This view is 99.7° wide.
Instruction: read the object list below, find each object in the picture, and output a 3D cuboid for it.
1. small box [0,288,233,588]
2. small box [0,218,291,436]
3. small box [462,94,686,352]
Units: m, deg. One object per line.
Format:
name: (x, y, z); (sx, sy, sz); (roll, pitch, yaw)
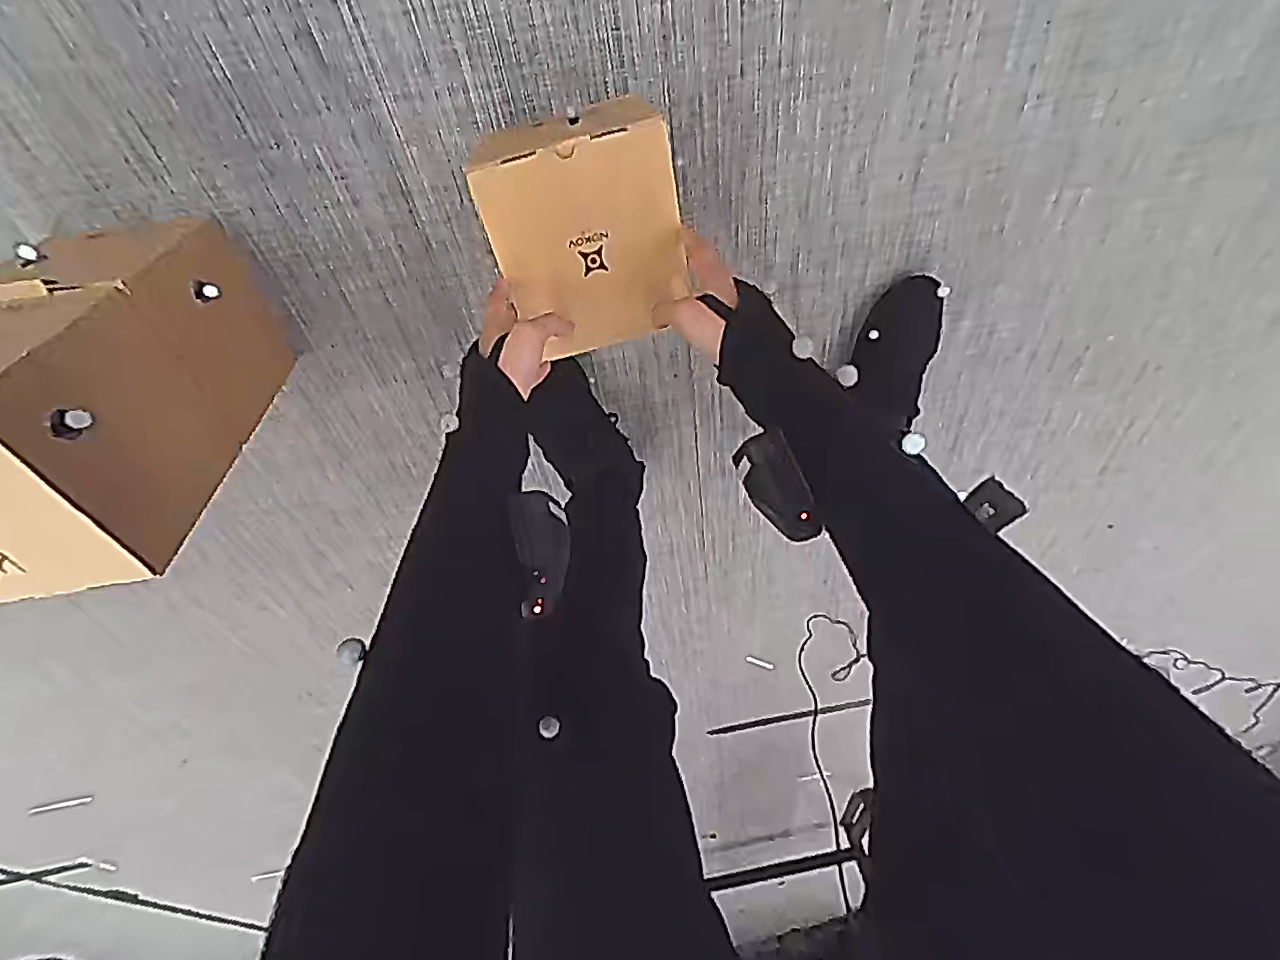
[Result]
small box: (-0.486, -0.038, 0.434); (0.168, 0.176, 0.179); (-9, 133, -2)
small box: (-0.502, -0.151, 0.551); (0.168, 0.176, 0.179); (-8, 133, -2)
small box: (-0.058, -0.259, 0.542); (0.168, 0.176, 0.179); (-14, 130, 1)
